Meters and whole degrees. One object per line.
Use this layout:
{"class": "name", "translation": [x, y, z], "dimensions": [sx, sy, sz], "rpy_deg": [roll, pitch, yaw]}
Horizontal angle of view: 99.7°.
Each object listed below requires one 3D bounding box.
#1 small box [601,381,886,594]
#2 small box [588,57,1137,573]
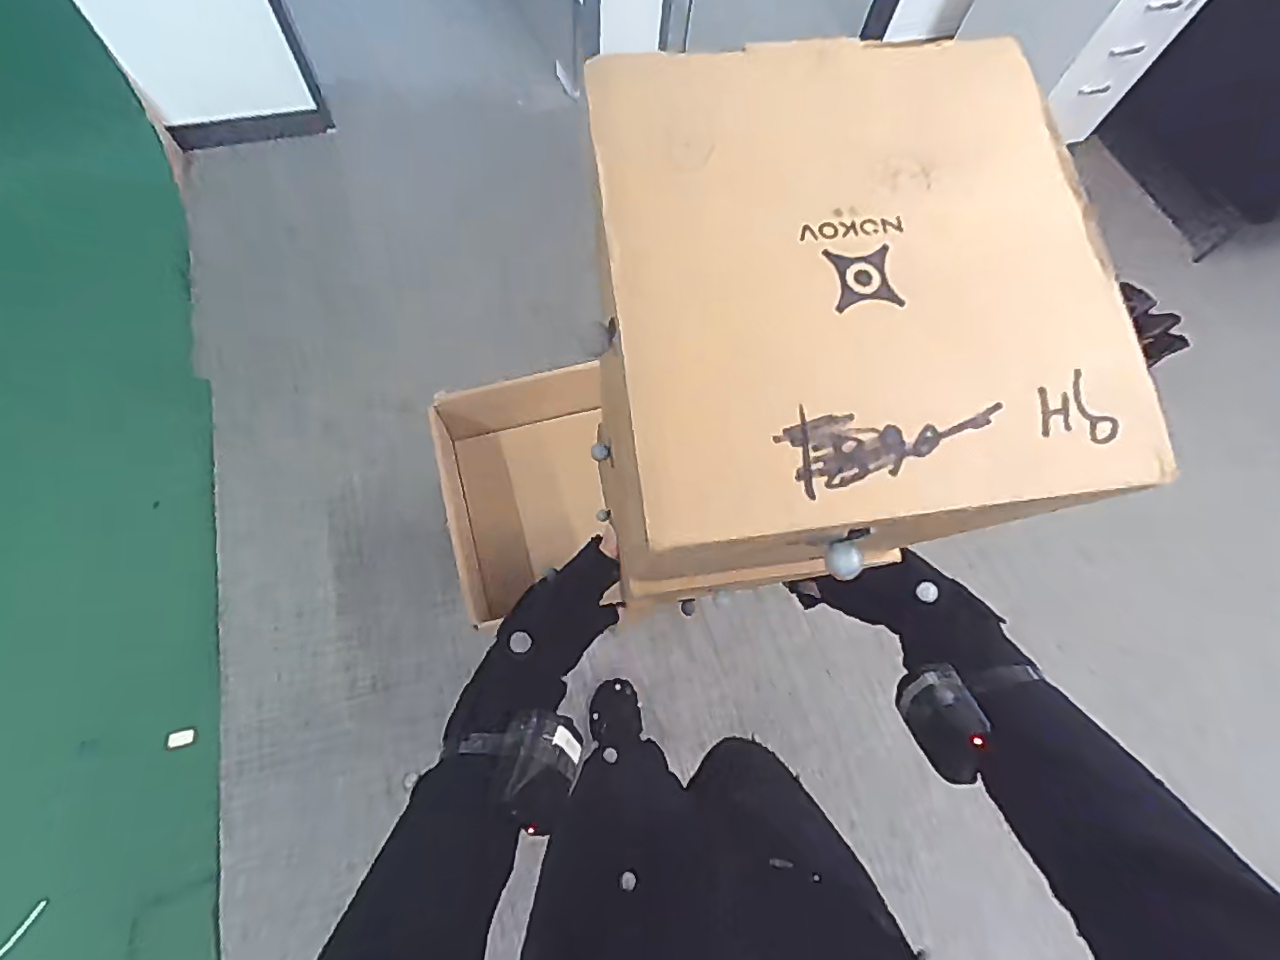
{"class": "small box", "translation": [0.057, -0.010, 0.423], "dimensions": [0.168, 0.176, 0.179], "rpy_deg": [-6, 77, -4]}
{"class": "small box", "translation": [0.065, -0.057, 0.266], "dimensions": [0.168, 0.176, 0.179], "rpy_deg": [-7, 75, -4]}
